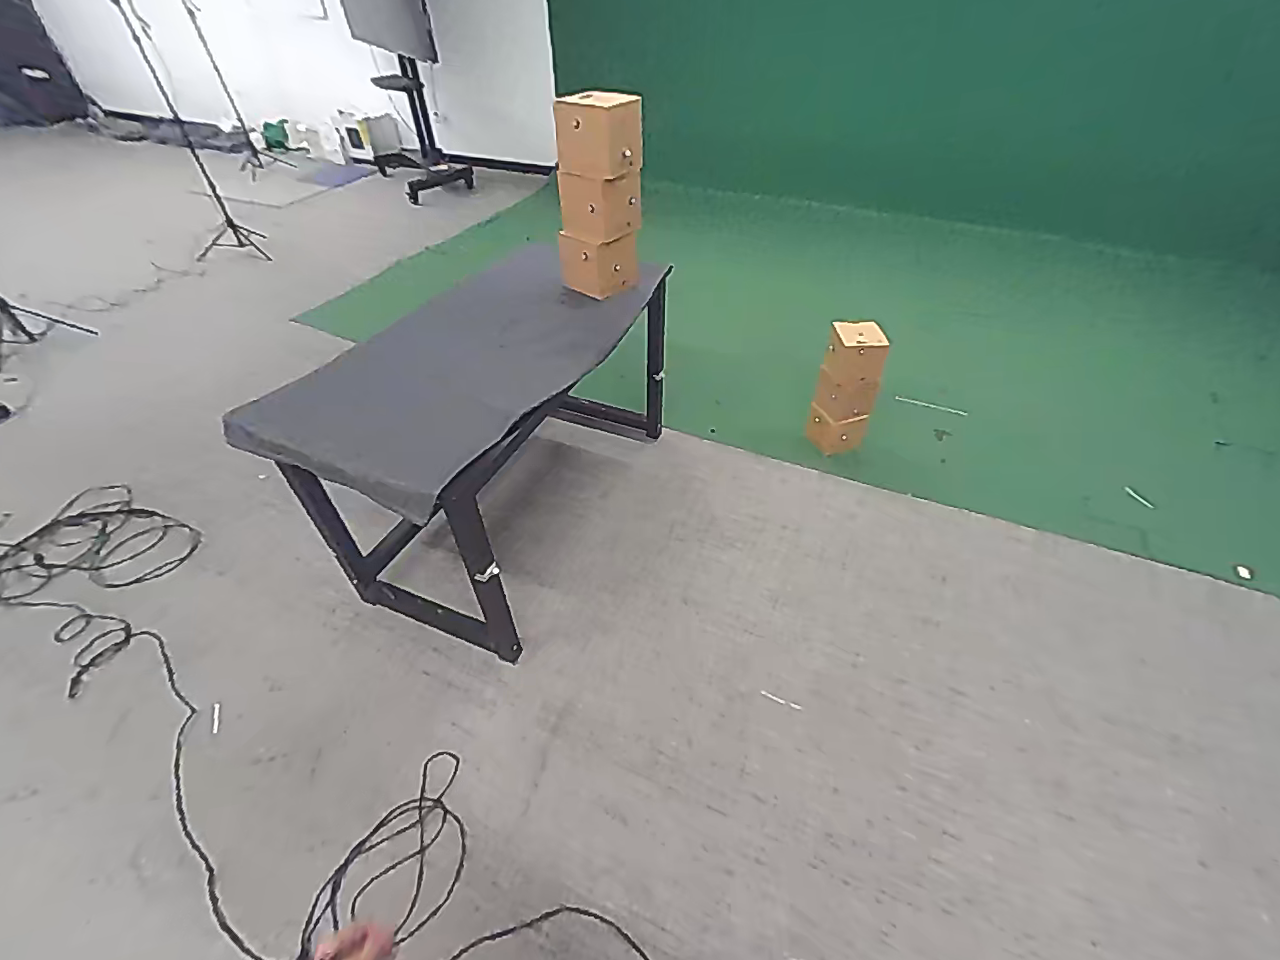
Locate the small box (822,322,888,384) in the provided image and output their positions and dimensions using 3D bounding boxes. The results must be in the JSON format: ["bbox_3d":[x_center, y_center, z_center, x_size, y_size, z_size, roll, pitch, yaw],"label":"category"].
[{"bbox_3d":[0.808,-0.483,2.052,0.168,0.176,0.179,-2,44,-1],"label":"small box"}]

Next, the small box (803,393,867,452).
[{"bbox_3d":[0.811,-0.233,2.266,0.168,0.176,0.179,-15,45,-14],"label":"small box"}]

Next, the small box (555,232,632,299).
[{"bbox_3d":[-0.138,-0.682,1.682,0.179,0.176,0.168,32,52,32],"label":"small box"}]

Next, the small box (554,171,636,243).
[{"bbox_3d":[-0.124,-0.808,1.579,0.179,0.176,0.168,27,49,29],"label":"small box"}]

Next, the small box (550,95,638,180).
[{"bbox_3d":[-0.119,-0.930,1.469,0.179,0.176,0.168,23,49,23],"label":"small box"}]
